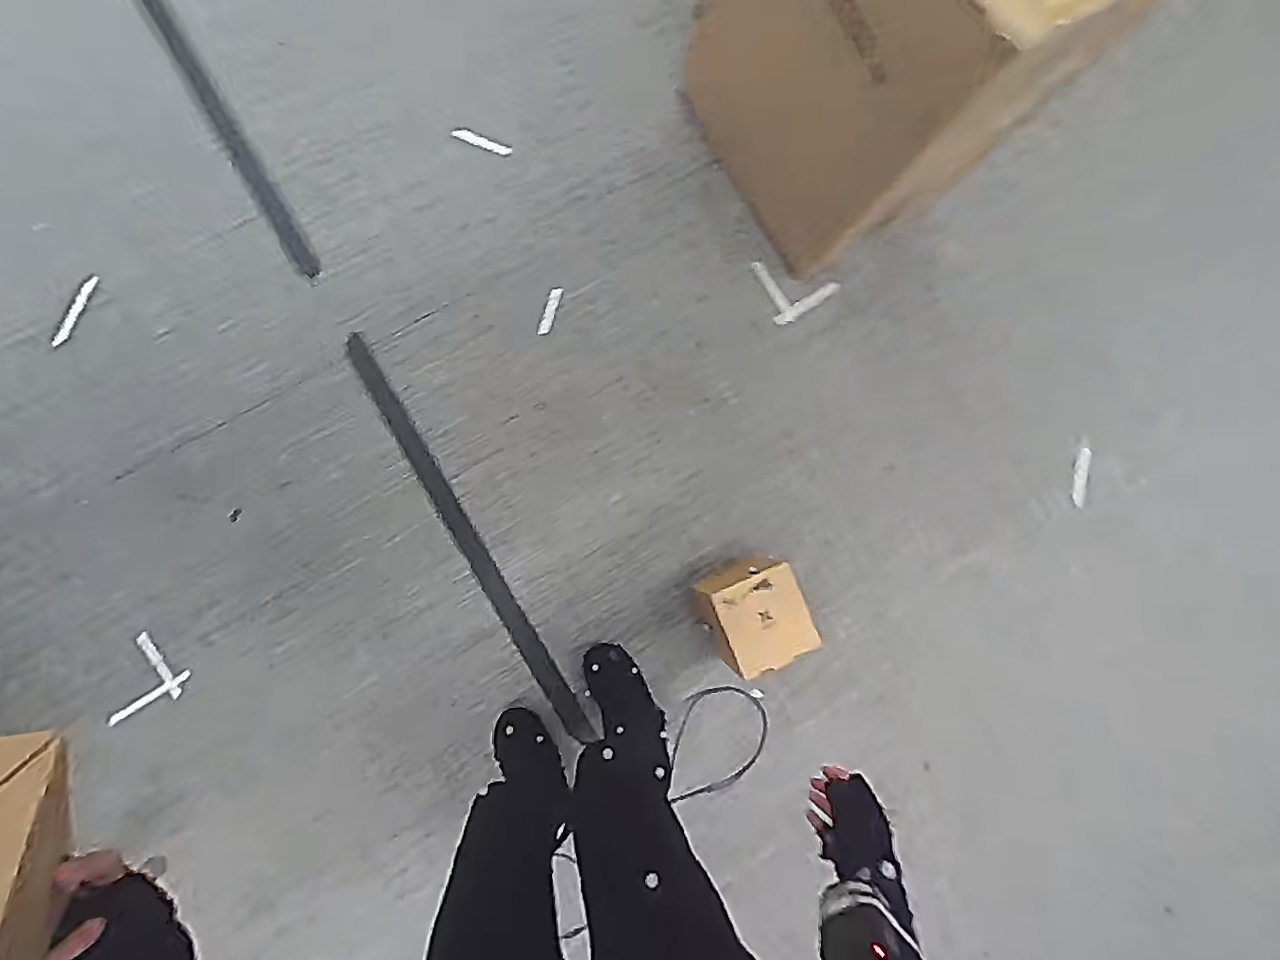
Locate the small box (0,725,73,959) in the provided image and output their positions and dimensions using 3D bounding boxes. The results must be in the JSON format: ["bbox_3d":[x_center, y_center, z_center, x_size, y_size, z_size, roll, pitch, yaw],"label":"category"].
[{"bbox_3d":[-0.350,0.228,0.204,0.168,0.179,0.176,4,115,-36],"label":"small box"}]

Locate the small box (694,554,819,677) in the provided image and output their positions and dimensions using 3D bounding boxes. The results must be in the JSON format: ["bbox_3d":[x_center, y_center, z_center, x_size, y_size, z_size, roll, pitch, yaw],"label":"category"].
[{"bbox_3d":[0.227,0.264,1.095,0.168,0.176,0.179,-23,89,-8],"label":"small box"}]
